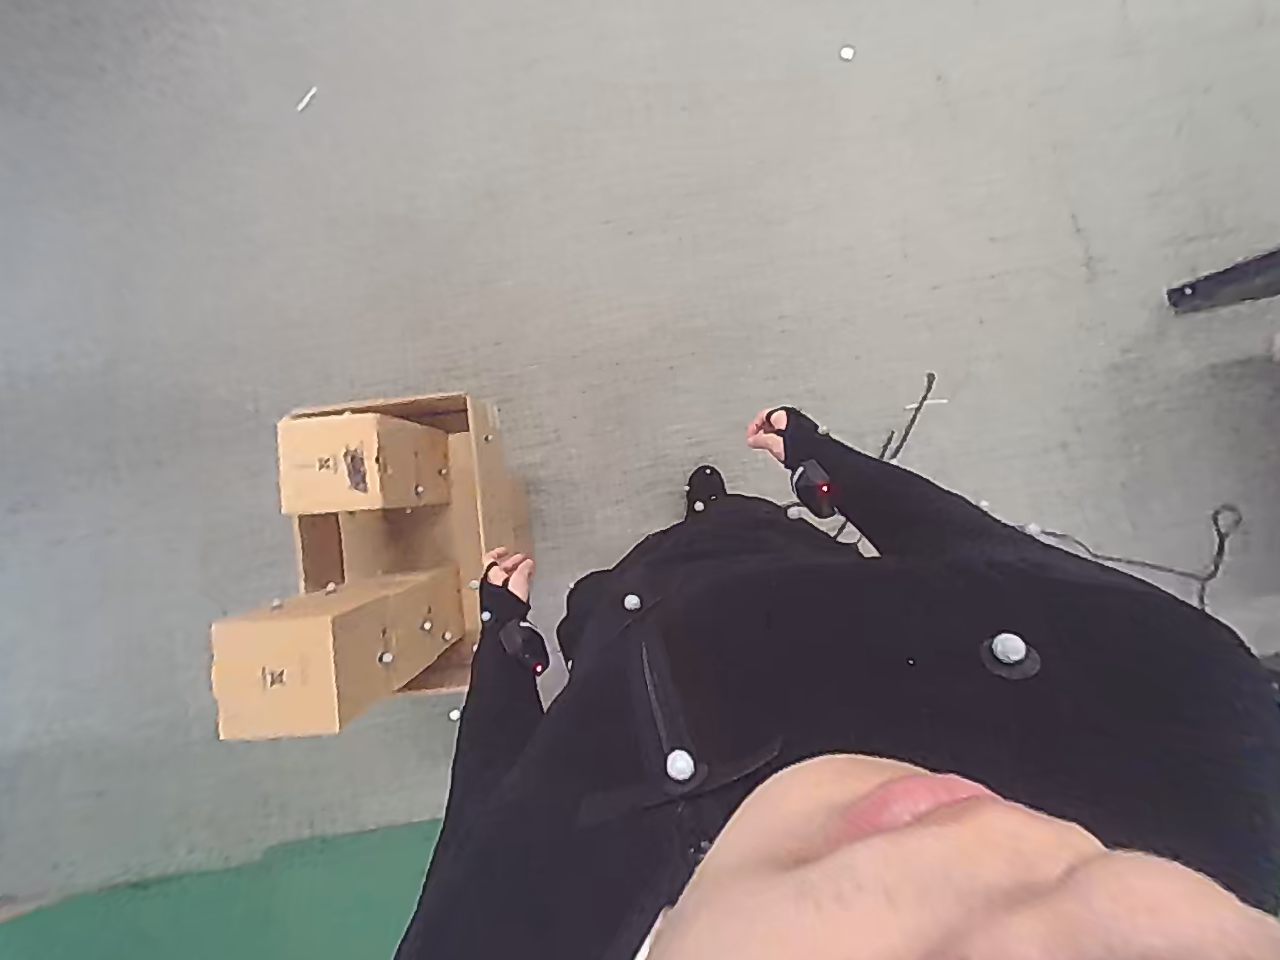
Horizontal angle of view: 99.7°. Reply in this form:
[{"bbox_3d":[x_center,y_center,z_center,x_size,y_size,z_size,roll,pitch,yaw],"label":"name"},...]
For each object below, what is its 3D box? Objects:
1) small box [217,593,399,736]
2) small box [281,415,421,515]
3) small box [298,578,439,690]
[{"bbox_3d":[-0.502,0.275,0.836,0.179,0.176,0.168,-4,90,3],"label":"small box"},{"bbox_3d":[-0.523,-0.026,1.005,0.179,0.176,0.168,-4,88,3],"label":"small box"},{"bbox_3d":[-0.494,0.278,0.999,0.179,0.176,0.168,-3,90,3],"label":"small box"}]
